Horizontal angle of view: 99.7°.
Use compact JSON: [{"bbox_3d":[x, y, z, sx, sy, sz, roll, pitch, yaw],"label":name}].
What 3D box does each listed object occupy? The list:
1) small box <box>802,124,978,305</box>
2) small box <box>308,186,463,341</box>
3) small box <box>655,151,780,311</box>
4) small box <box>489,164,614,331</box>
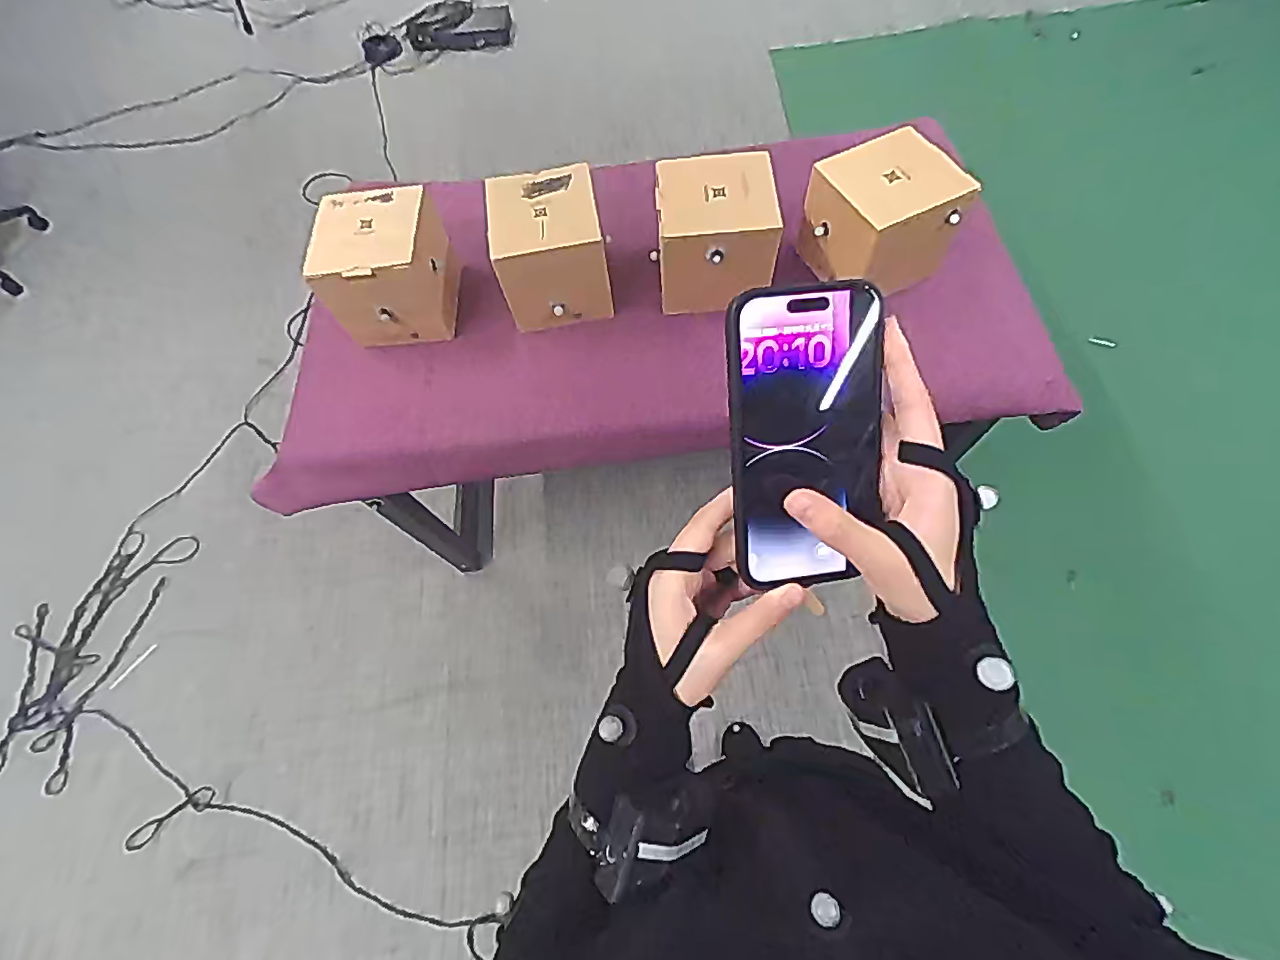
[{"bbox_3d":[0.376,-0.412,0.858,0.179,0.176,0.168,-25,65,-7],"label":"small box"},{"bbox_3d":[-0.407,-0.346,0.897,0.168,0.176,0.179,-5,66,2],"label":"small box"},{"bbox_3d":[0.119,-0.393,0.873,0.179,0.176,0.168,-3,66,3],"label":"small box"},{"bbox_3d":[-0.140,-0.375,0.886,0.168,0.176,0.179,-10,66,1],"label":"small box"}]
